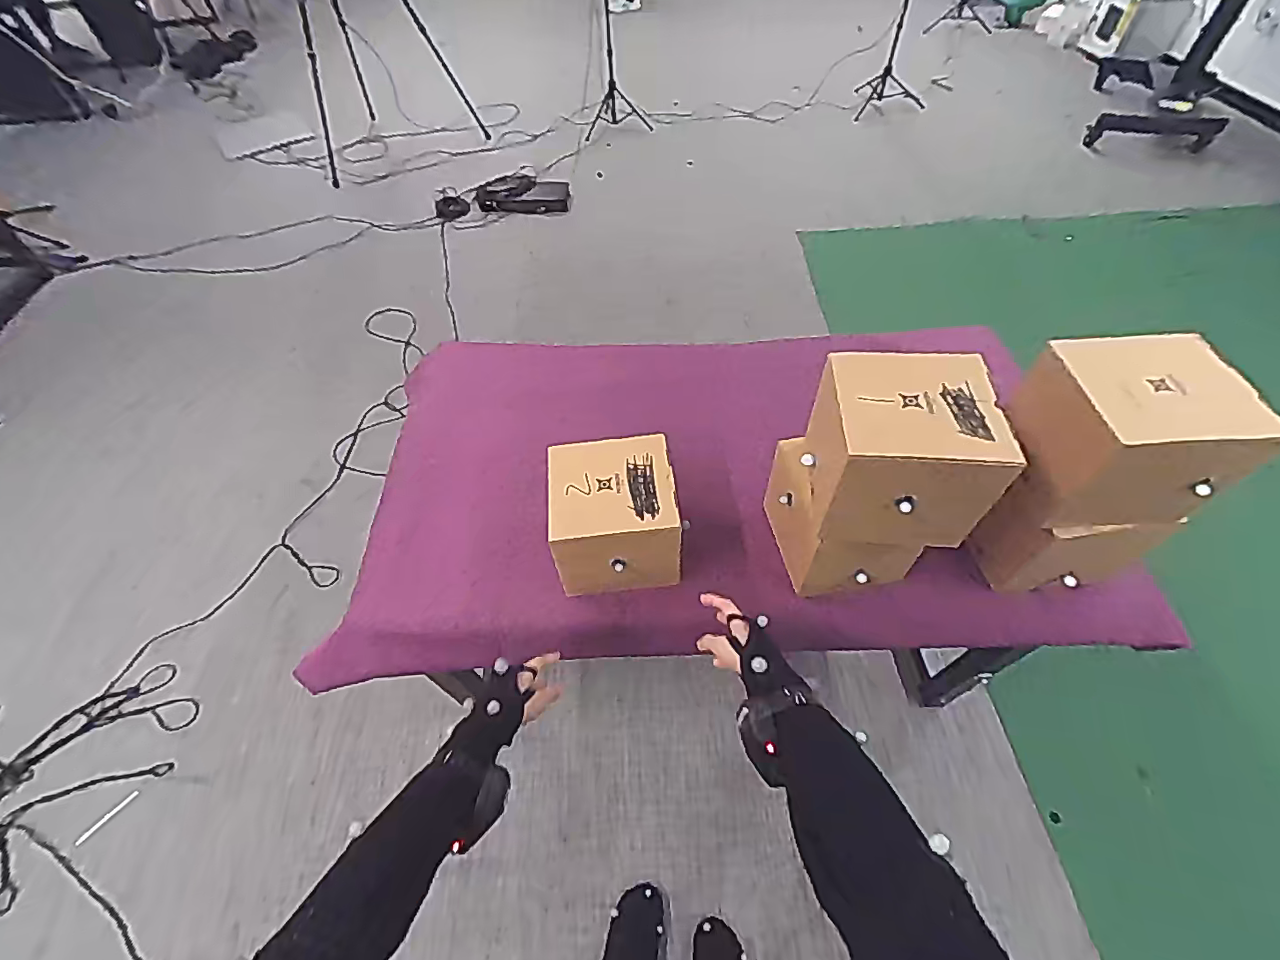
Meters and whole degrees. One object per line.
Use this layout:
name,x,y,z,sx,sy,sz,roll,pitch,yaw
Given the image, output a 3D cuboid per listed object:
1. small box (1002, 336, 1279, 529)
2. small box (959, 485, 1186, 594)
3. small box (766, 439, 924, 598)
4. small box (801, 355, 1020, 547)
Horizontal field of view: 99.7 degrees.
small box,0.573,-0.053,0.656,0.179,0.176,0.168,-3,53,2
small box,0.593,0.050,0.782,0.179,0.176,0.168,-7,53,-1
small box,0.295,0.051,0.799,0.168,0.176,0.179,-9,53,-3
small box,0.305,-0.031,0.655,0.179,0.176,0.168,2,52,6
